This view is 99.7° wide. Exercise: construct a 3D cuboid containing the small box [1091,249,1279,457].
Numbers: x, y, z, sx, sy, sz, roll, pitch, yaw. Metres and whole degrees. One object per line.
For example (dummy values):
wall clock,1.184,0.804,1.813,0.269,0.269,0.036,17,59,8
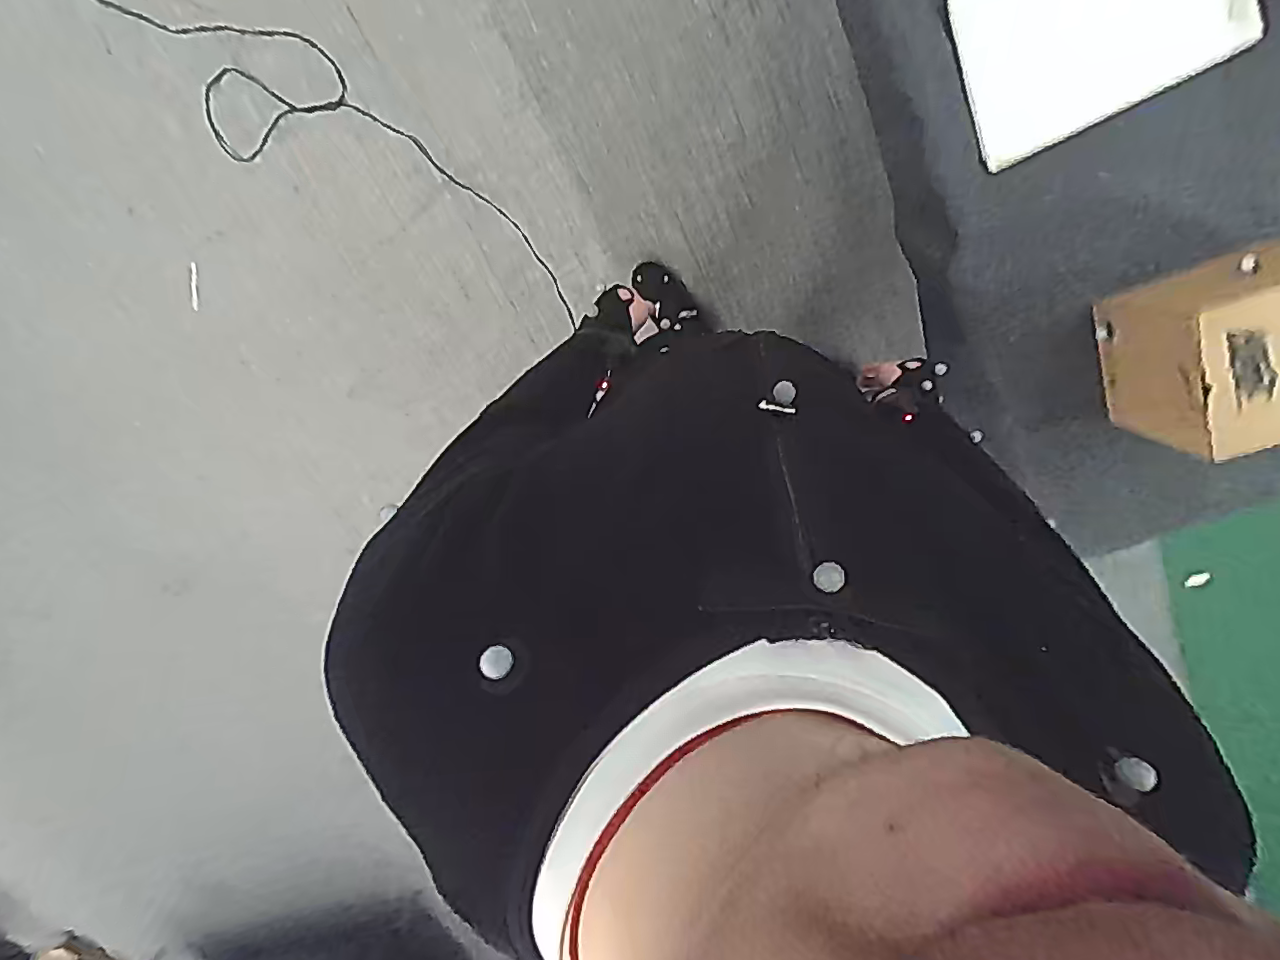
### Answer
small box,0.659,-0.149,0.617,0.179,0.176,0.168,-19,108,15
